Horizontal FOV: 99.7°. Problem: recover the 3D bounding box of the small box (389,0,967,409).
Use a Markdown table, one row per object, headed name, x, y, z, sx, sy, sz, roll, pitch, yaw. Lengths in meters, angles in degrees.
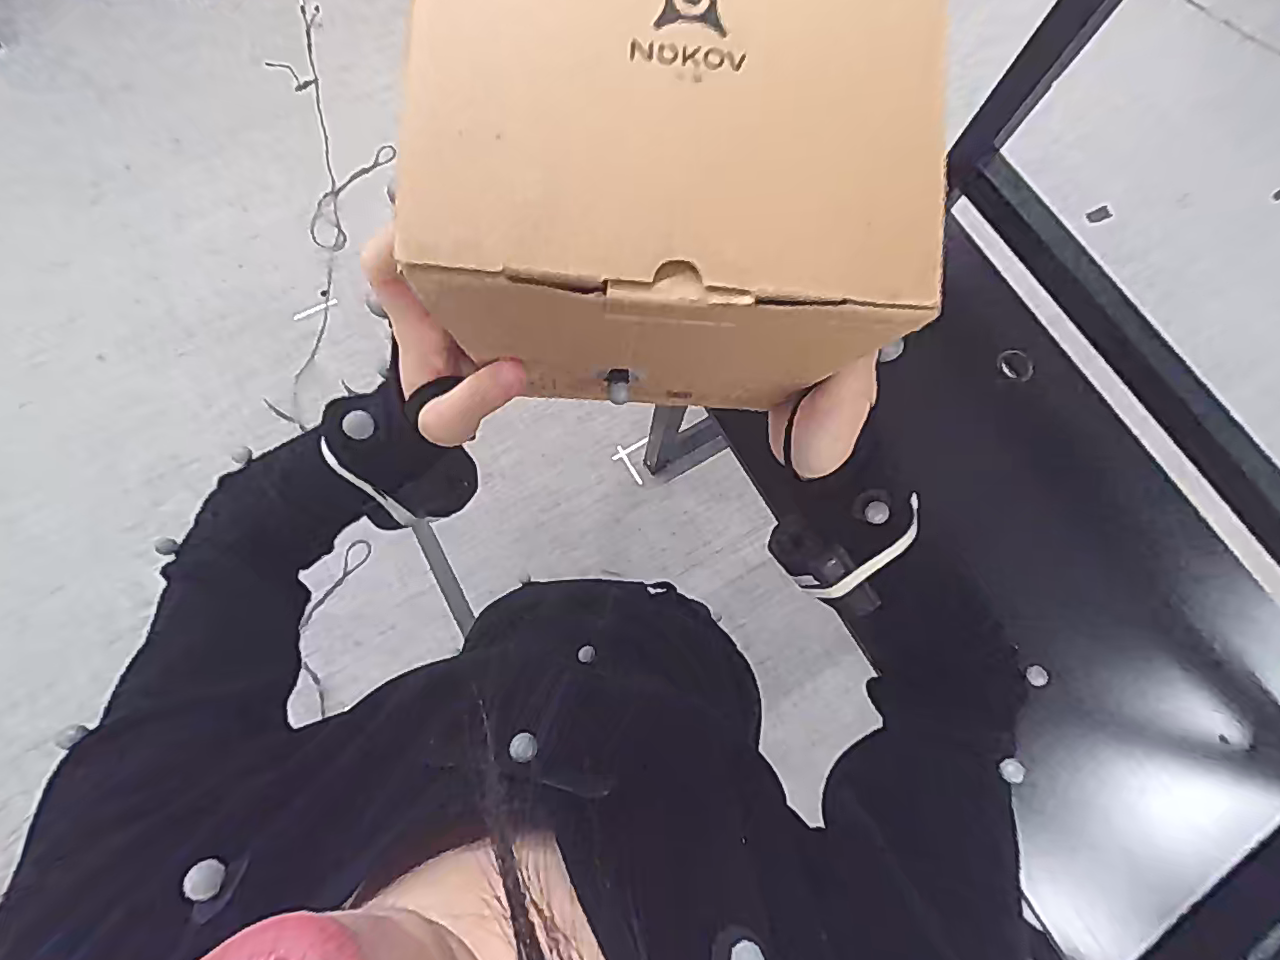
| name | x | y | z | sx | sy | sz | roll | pitch | yaw |
| --- | --- | --- | --- | --- | --- | --- | --- | --- | --- |
| small box | 0.010 | -0.137 | 0.238 | 0.168 | 0.176 | 0.179 | 3 | 87 | -4 |
